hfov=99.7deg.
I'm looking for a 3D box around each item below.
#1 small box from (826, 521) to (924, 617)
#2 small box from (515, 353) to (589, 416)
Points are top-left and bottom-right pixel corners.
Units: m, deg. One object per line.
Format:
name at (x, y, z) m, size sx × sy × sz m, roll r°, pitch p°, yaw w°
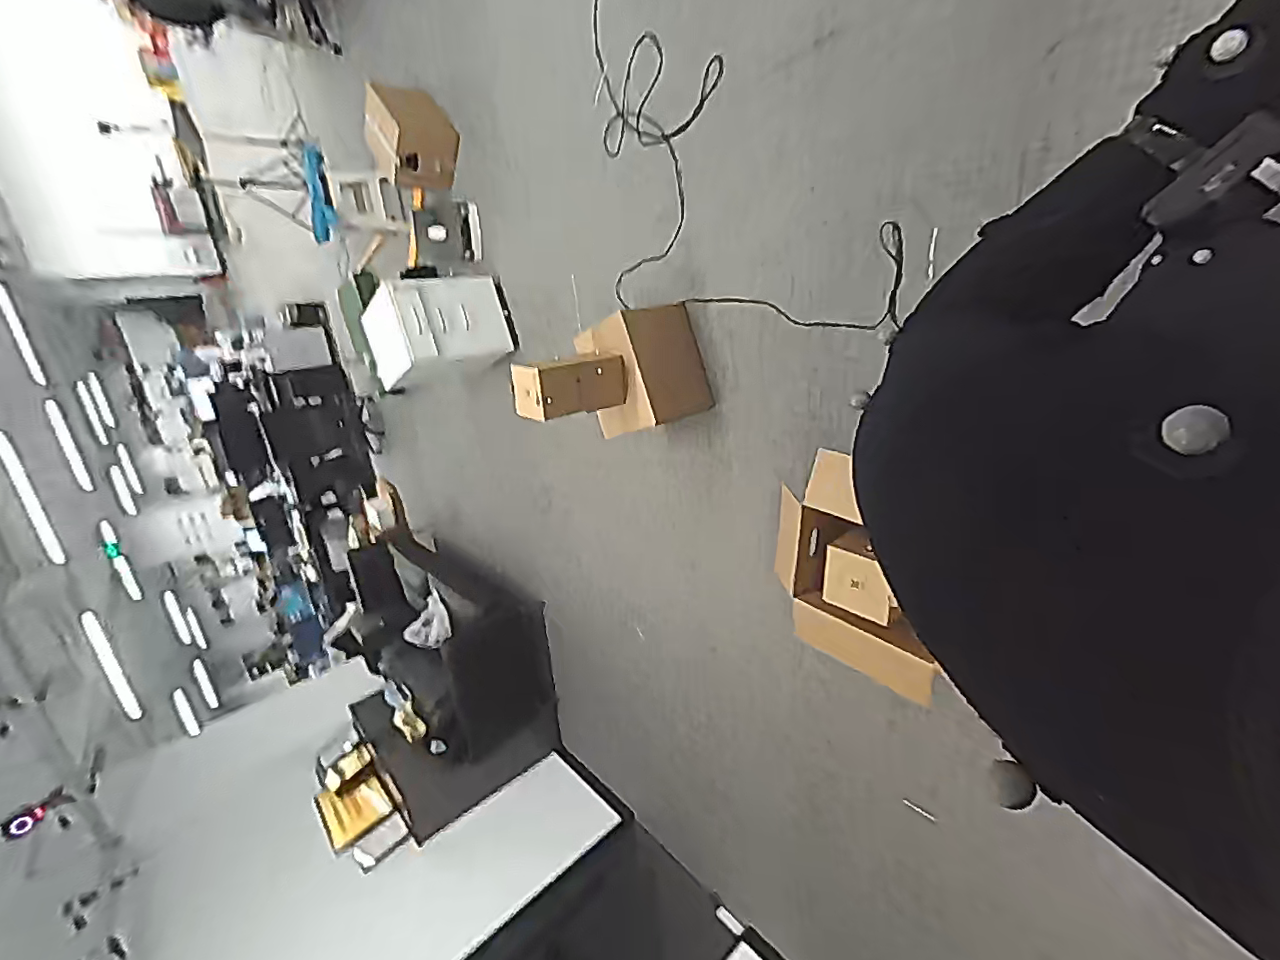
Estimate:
small box at (0.612, 0.220, 1.404) m, size 0.179 × 0.176 × 0.168 m, roll 19°, pitch 119°, yaw 45°
small box at (-0.286, -0.320, 1.778) m, size 0.179 × 0.176 × 0.168 m, roll 20°, pitch 122°, yaw 46°
